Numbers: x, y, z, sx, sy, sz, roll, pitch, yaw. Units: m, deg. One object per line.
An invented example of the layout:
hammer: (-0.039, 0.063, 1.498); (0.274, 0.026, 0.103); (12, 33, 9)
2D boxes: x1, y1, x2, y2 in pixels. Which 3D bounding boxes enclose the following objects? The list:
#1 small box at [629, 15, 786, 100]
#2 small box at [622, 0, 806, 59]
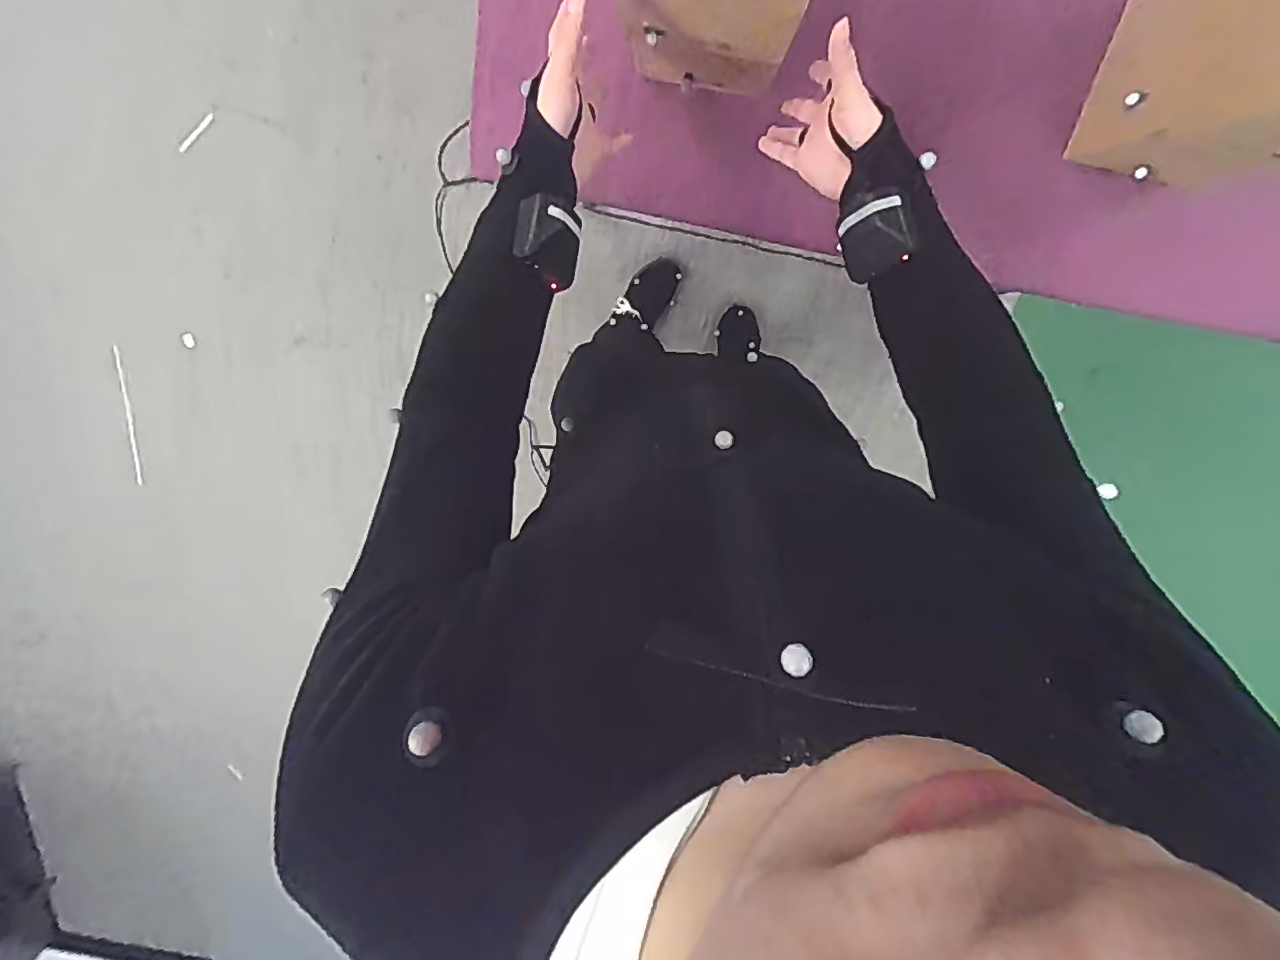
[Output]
small box: (0.087, -0.552, 0.589); (0.168, 0.176, 0.179); (11, 112, 0)
small box: (0.074, -0.484, 0.440); (0.168, 0.176, 0.179); (11, 110, 0)
